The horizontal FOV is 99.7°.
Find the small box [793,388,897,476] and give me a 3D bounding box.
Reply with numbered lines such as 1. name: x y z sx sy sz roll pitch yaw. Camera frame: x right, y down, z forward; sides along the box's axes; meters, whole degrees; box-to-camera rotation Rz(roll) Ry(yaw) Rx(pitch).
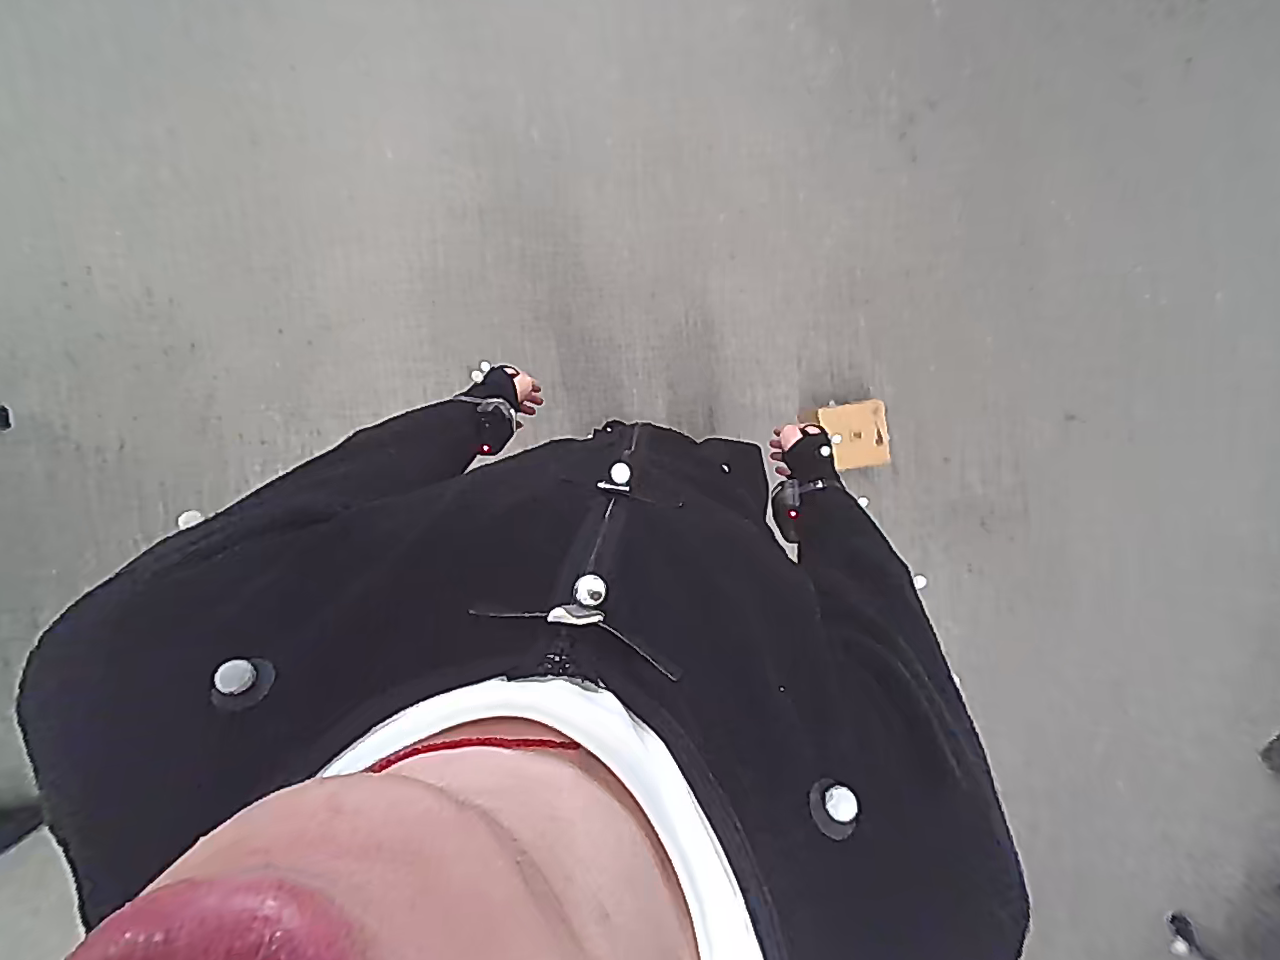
1. small box: 0.552 -0.124 1.484 0.168 0.176 0.179 -38 93 -1
